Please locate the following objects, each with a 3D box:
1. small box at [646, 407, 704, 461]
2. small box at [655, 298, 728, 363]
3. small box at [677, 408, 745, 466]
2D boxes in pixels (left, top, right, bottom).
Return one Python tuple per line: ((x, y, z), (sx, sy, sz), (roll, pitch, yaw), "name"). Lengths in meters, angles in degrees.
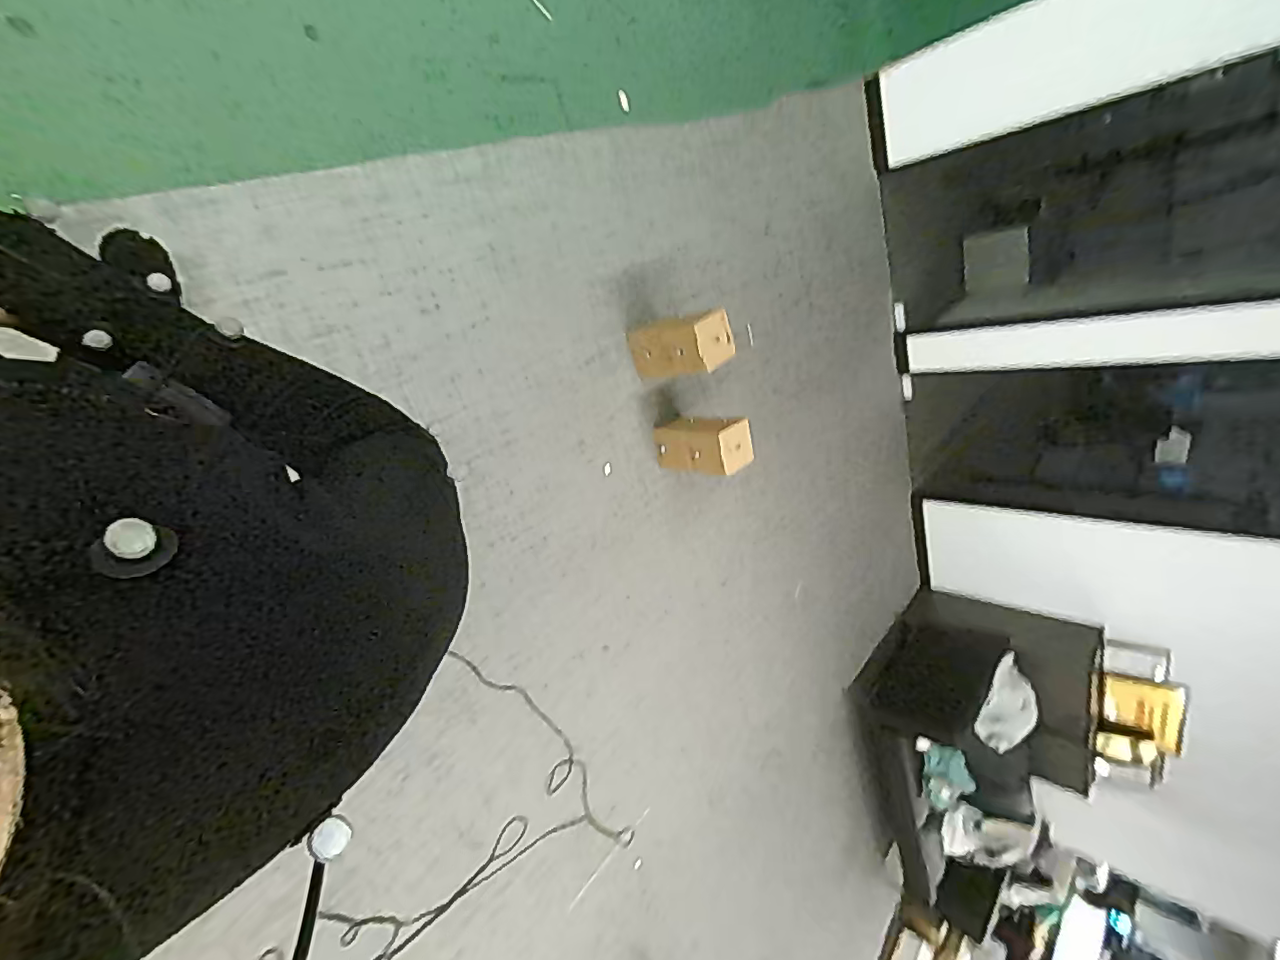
((0.149, -0.187, 2.127), (0.179, 0.176, 0.168), (-28, 115, -37), "small box")
((0.170, -0.511, 1.864), (0.179, 0.176, 0.168), (-37, 120, -33), "small box")
((0.265, -0.167, 2.011), (0.179, 0.176, 0.168), (-30, 116, -36), "small box")
